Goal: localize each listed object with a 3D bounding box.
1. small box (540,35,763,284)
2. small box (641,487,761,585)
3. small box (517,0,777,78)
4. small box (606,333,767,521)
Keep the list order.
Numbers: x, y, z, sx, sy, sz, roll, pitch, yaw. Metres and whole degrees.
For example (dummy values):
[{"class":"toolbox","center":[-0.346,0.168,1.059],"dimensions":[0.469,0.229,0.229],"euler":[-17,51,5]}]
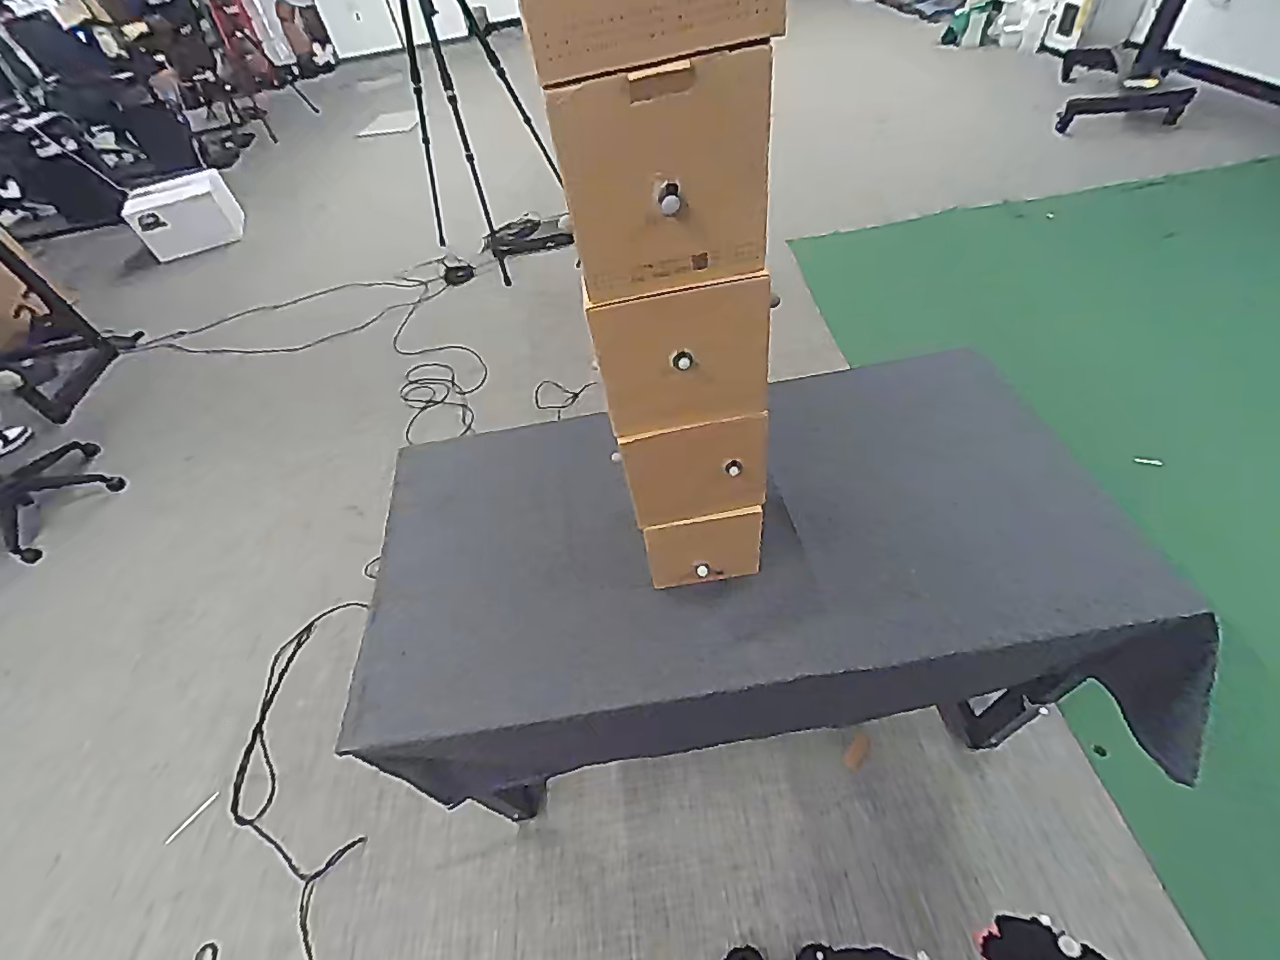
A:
[{"class":"small box","center":[0.012,-0.296,0.495],"dimensions":[0.168,0.176,0.179],"euler":[-10,48,1]},{"class":"small box","center":[0.085,0.040,0.844],"dimensions":[0.168,0.176,0.179],"euler":[-9,49,2]},{"class":"small box","center":[-0.008,-0.403,0.371],"dimensions":[0.179,0.176,0.168],"euler":[-10,47,2]},{"class":"small box","center":[0.059,-0.068,0.724],"dimensions":[0.179,0.176,0.168],"euler":[-11,48,1]}]
